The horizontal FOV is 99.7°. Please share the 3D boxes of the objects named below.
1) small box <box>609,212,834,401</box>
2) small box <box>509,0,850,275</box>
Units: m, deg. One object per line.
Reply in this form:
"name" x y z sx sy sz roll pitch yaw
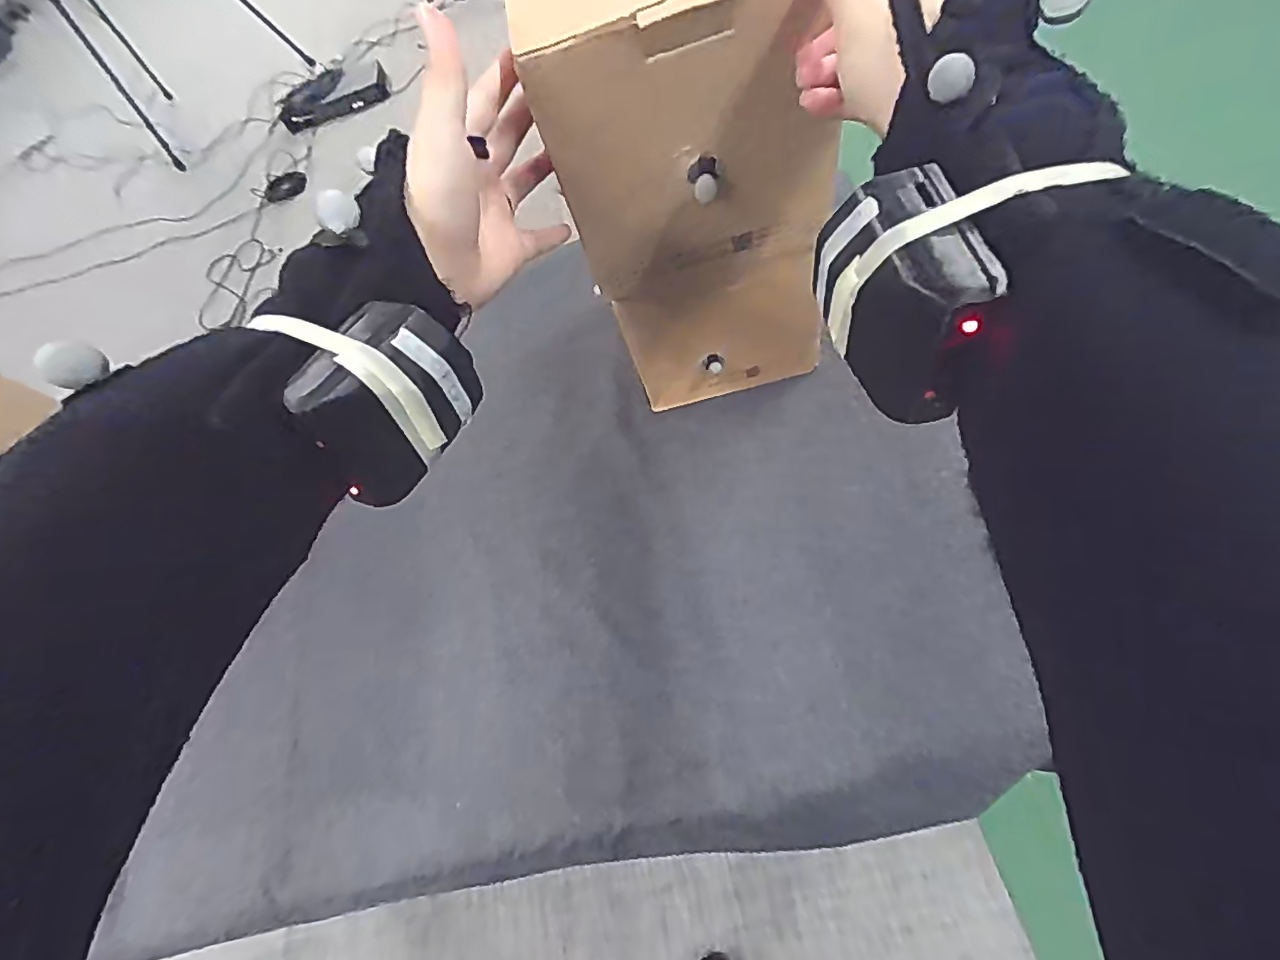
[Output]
"small box" 0.061 -0.201 0.496 0.168 0.176 0.179 -14 65 7
"small box" 0.025 -0.259 0.348 0.168 0.176 0.179 -14 66 7
